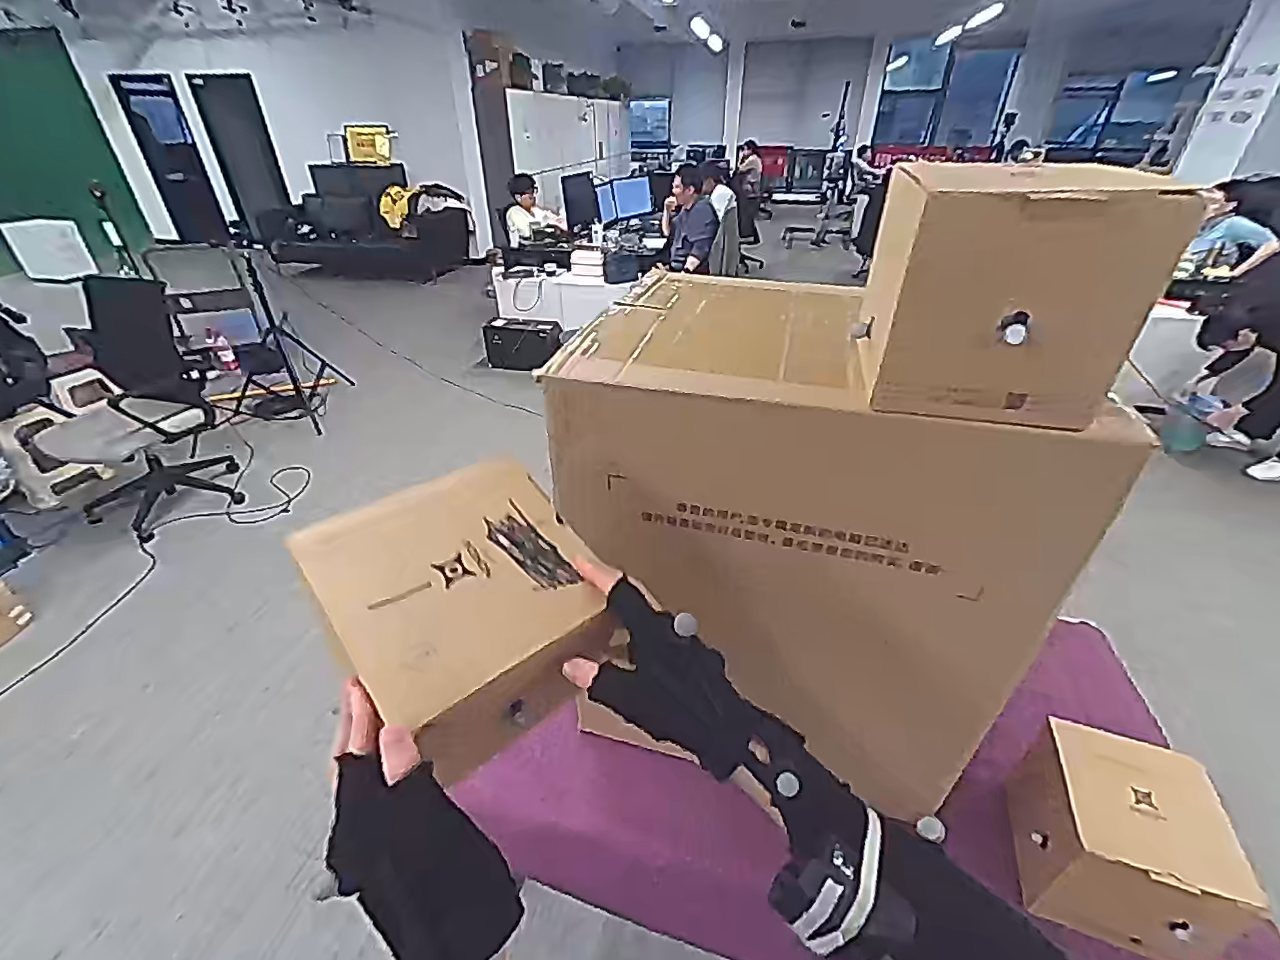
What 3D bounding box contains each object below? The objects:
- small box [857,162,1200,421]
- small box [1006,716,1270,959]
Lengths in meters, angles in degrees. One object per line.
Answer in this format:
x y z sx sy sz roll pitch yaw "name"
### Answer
0.292 -0.165 0.462 0.168 0.176 0.179 7 36 12 "small box"
0.589 0.442 0.674 0.168 0.176 0.179 12 34 17 "small box"
